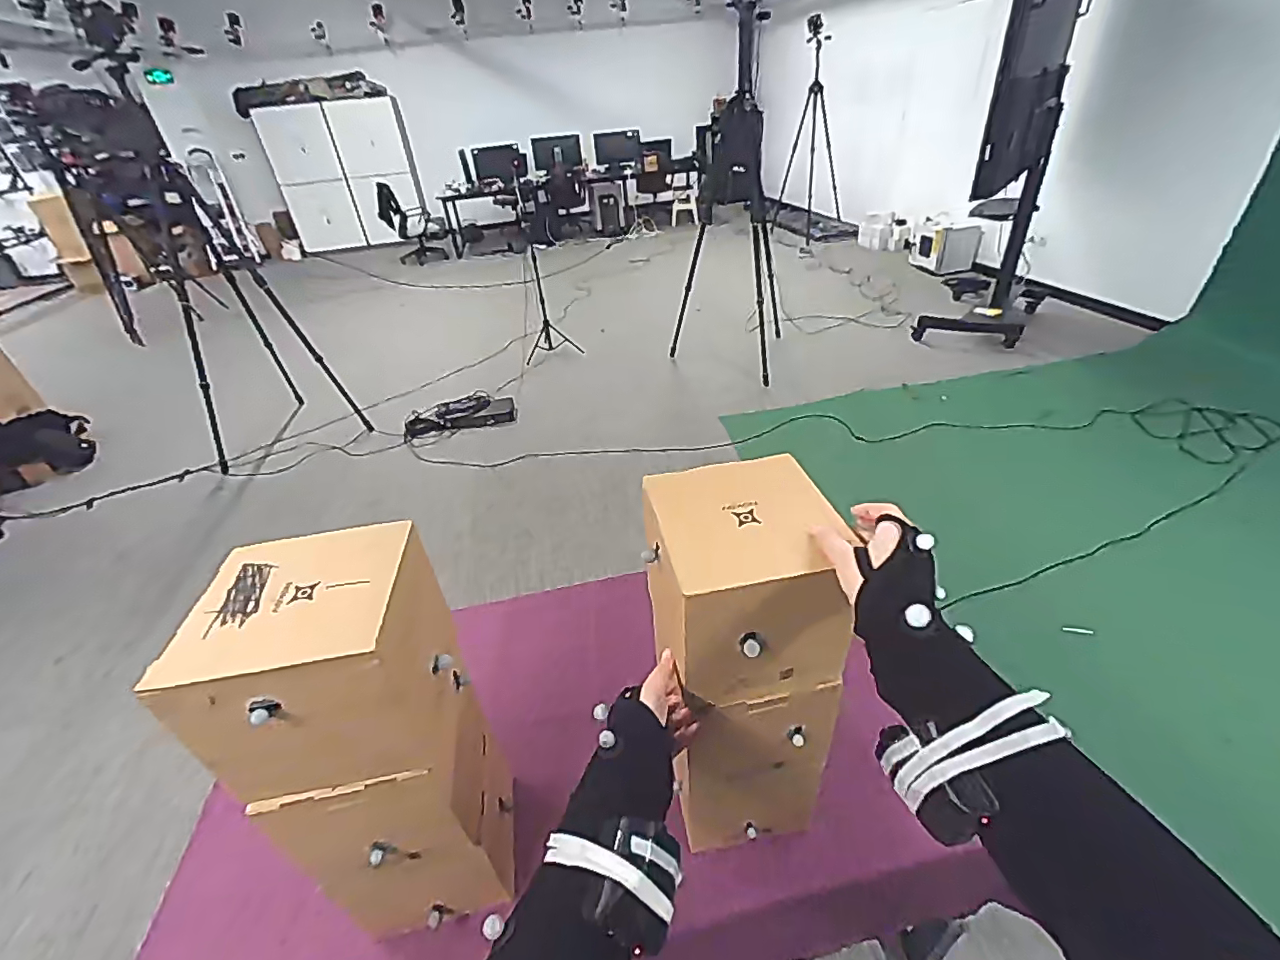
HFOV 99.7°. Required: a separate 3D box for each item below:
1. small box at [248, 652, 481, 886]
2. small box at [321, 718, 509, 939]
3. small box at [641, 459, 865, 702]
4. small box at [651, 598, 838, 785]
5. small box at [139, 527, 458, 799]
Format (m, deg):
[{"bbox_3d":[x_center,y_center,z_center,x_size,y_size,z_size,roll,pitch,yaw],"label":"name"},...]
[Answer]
[{"bbox_3d":[-0.282,0.307,0.606,0.168,0.176,0.179,-11,35,-6],"label":"small box"},{"bbox_3d":[-0.268,0.444,0.696,0.179,0.176,0.168,-11,35,-8],"label":"small box"},{"bbox_3d":[0.101,0.104,0.555,0.168,0.176,0.179,-9,35,-7],"label":"small box"},{"bbox_3d":[0.114,0.237,0.649,0.168,0.176,0.179,-10,35,-7],"label":"small box"},{"bbox_3d":[-0.291,0.171,0.513,0.179,0.176,0.168,-9,35,-6],"label":"small box"}]
